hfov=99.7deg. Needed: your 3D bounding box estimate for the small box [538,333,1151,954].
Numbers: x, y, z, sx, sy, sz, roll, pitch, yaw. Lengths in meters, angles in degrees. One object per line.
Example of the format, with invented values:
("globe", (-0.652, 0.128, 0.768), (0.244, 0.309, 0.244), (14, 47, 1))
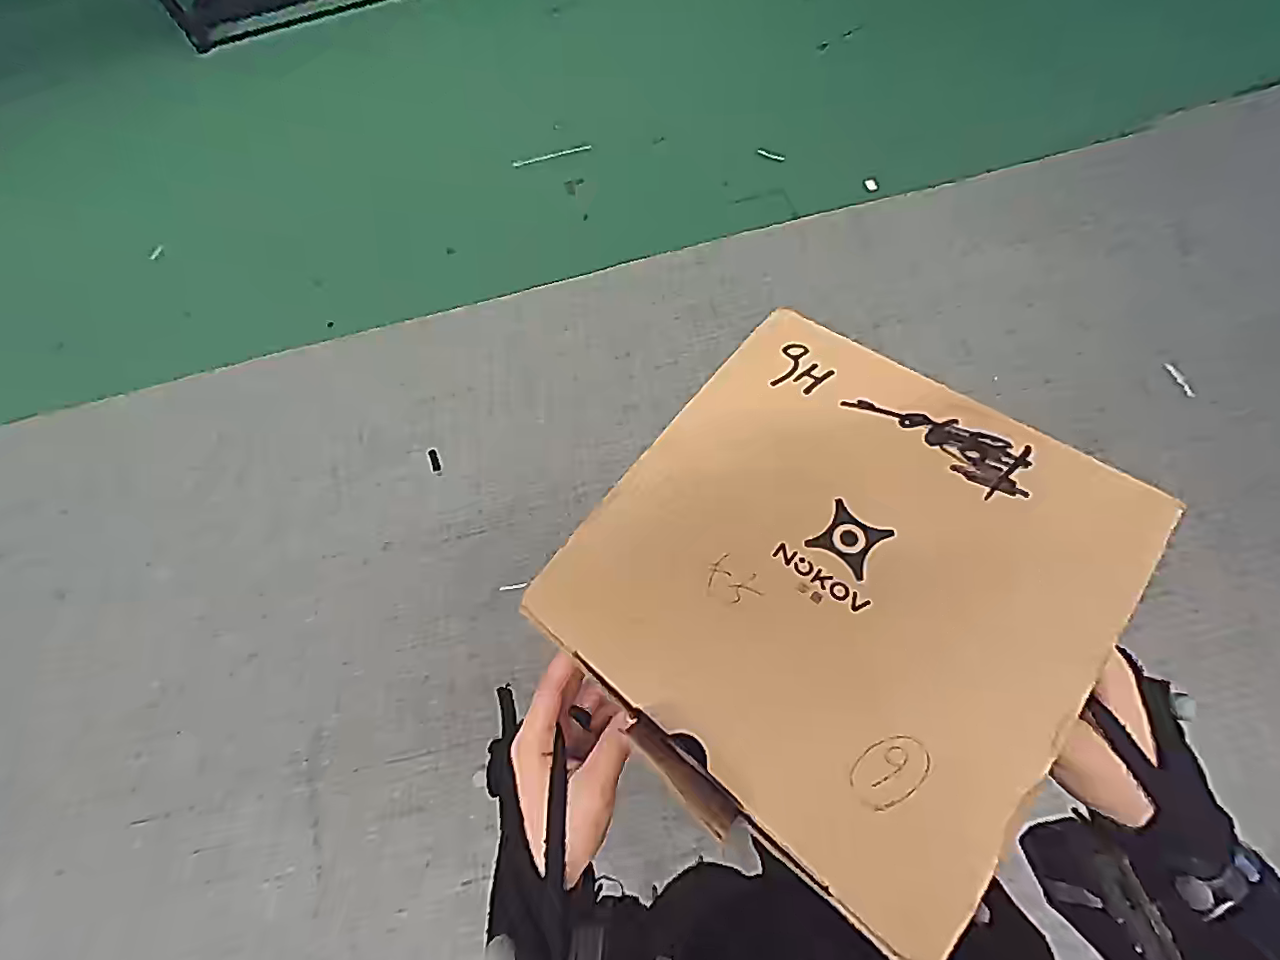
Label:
("small box", (0.084, 0.069, 0.279), (0.168, 0.176, 0.179), (36, 75, 22))
